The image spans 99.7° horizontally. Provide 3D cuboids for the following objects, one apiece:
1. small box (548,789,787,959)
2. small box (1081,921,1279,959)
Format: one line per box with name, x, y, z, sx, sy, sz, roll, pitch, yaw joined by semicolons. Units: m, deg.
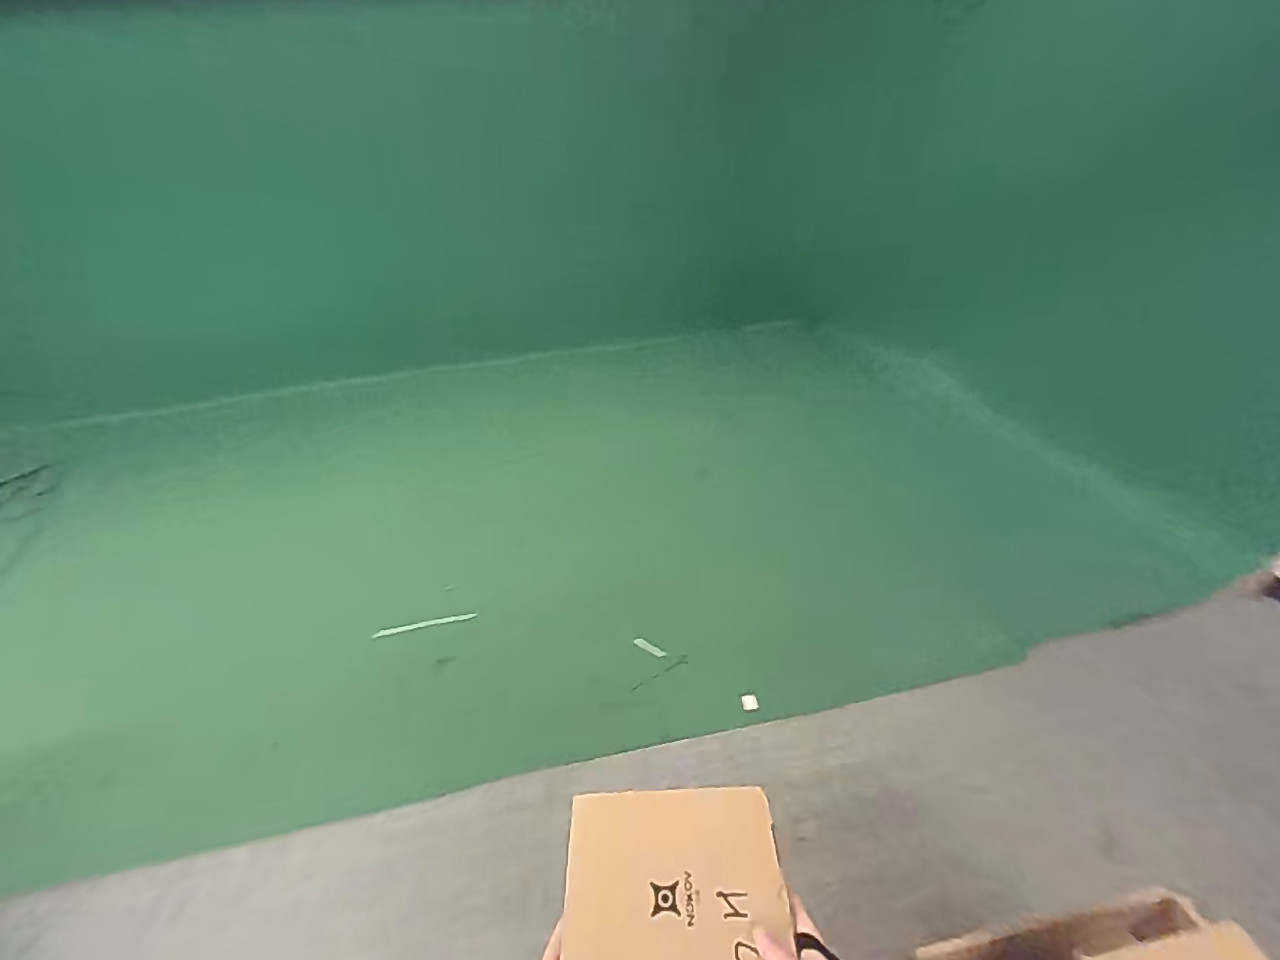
small box;0.024;0.395;0.463;0.179;0.176;0.168;-4;34;0
small box;0.550;0.572;0.524;0.179;0.176;0.168;-9;36;-4
